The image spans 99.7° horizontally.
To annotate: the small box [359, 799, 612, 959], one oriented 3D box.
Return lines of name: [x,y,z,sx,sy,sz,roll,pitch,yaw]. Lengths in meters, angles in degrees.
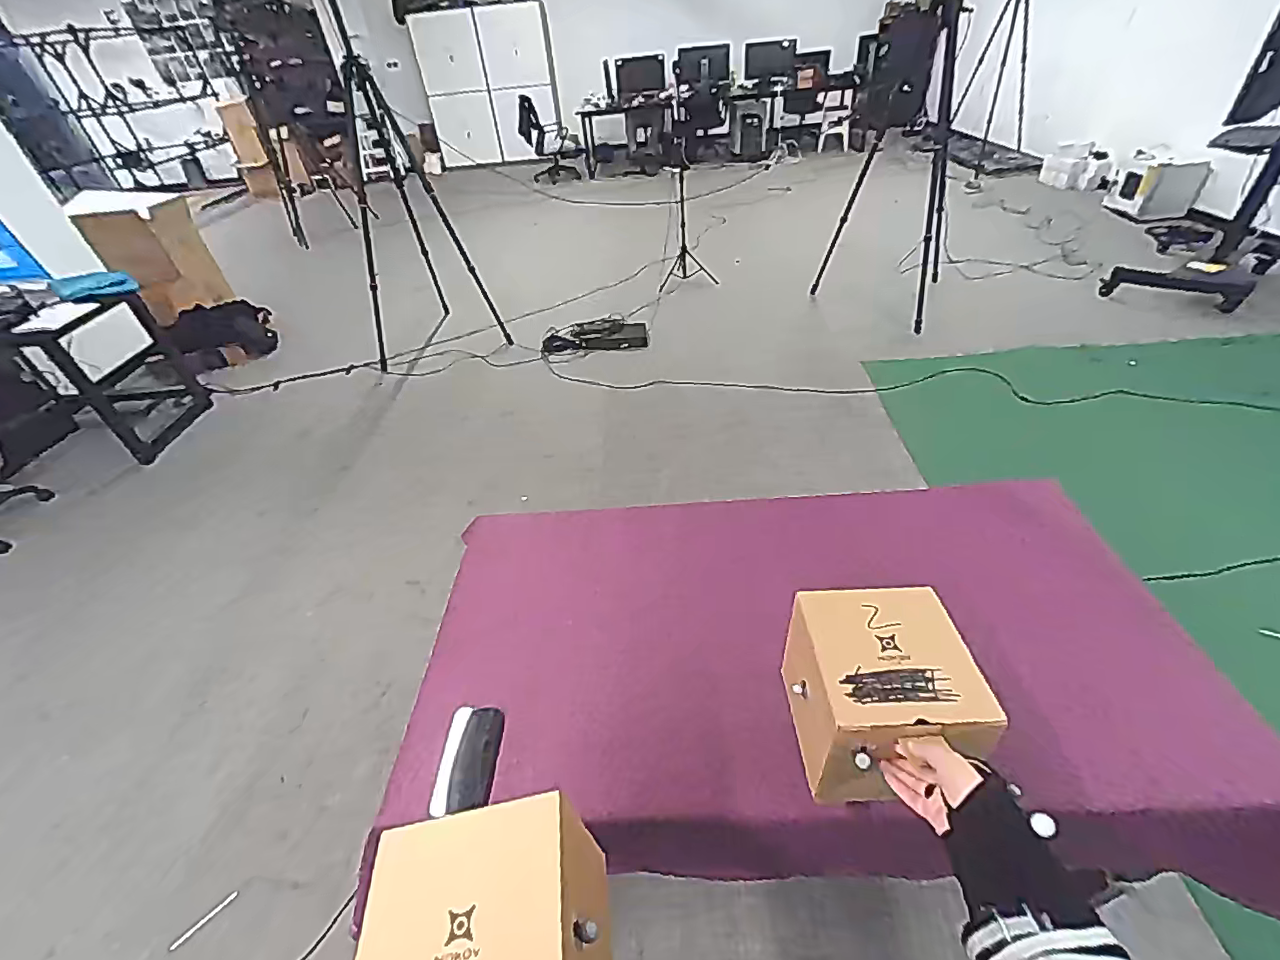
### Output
small box: [-0.121,0.411,0.460,0.168,0.176,0.179,-13,39,1]
